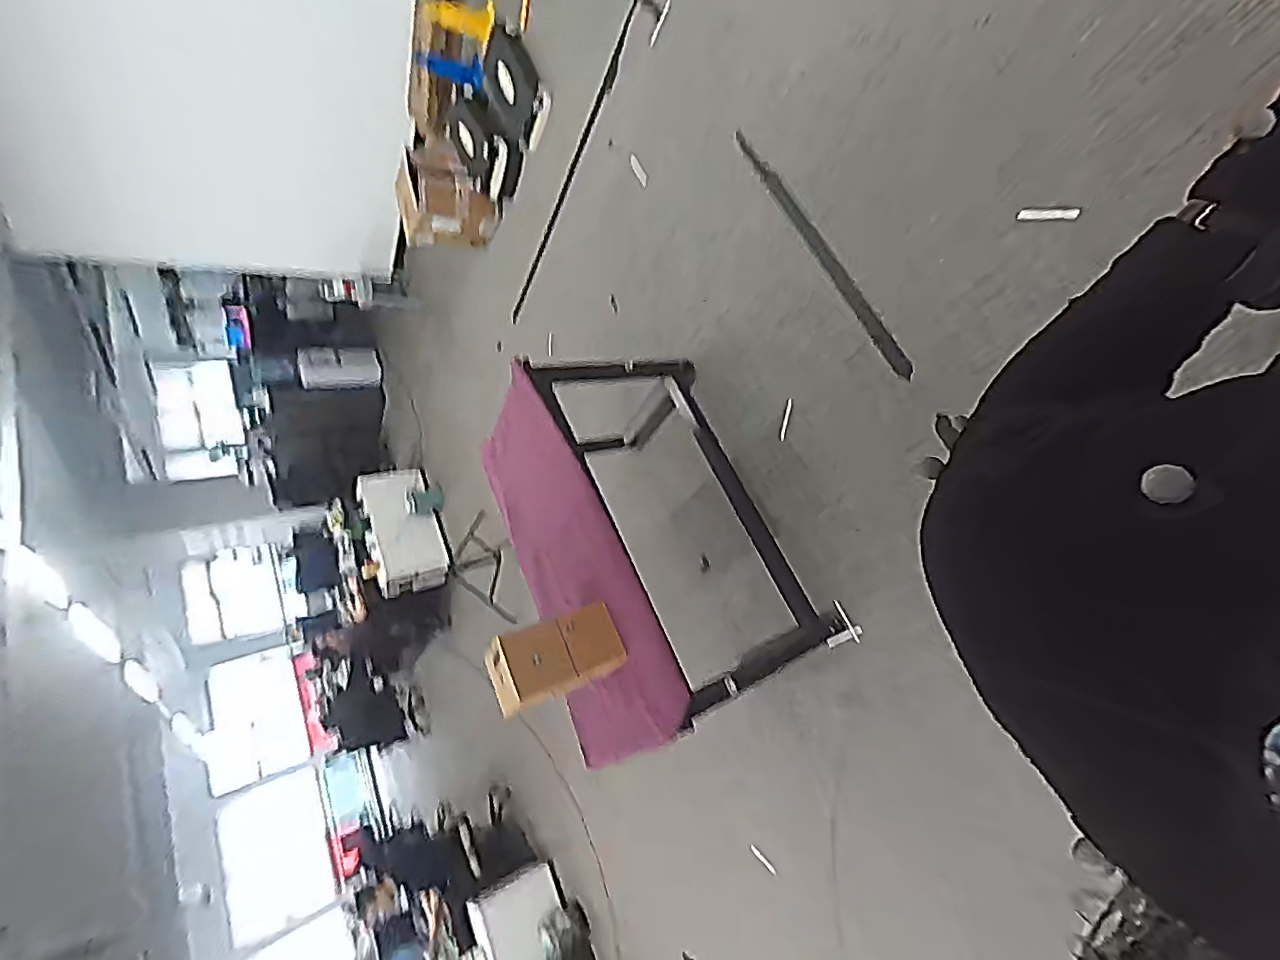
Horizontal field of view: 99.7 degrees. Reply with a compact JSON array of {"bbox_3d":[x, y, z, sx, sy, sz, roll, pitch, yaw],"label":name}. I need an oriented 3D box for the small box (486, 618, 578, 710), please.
[{"bbox_3d":[-0.292,0.488,1.458,0.179,0.176,0.168,62,141,22],"label":"small box"}]

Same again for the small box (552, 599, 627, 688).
[{"bbox_3d":[-0.163,0.468,1.557,0.168,0.176,0.179,-52,58,46],"label":"small box"}]
